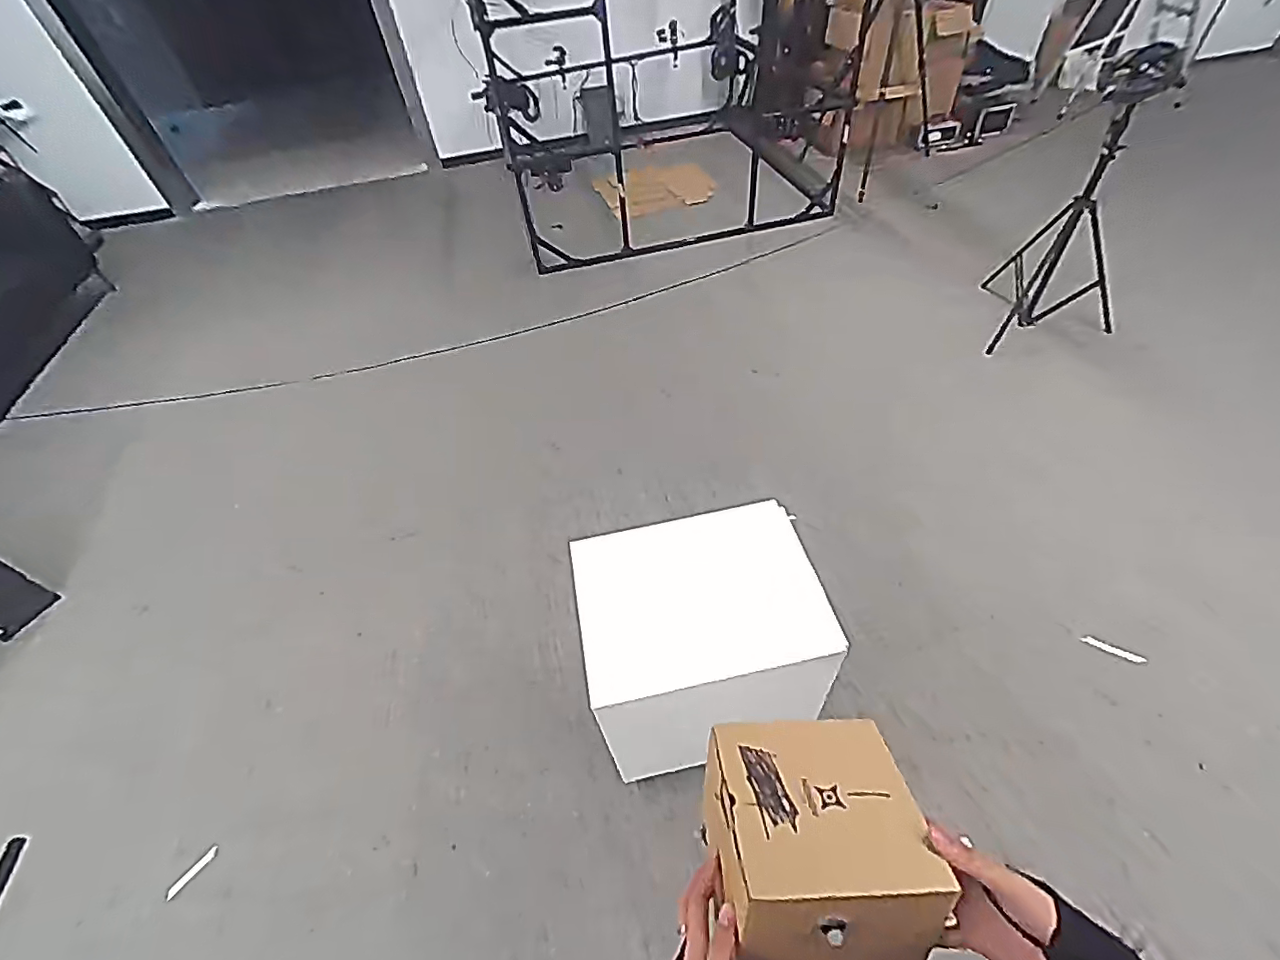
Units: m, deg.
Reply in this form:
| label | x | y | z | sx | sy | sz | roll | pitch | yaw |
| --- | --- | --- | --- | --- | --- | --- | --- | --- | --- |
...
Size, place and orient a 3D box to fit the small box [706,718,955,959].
| label | x | y | z | sx | sy | sz | roll | pitch | yaw |
| --- | --- | --- | --- | --- | --- | --- | --- | --- | --- |
| small box | 0.163 | 0.363 | 0.533 | 0.179 | 0.176 | 0.168 | 0 | 26 | -4 |
